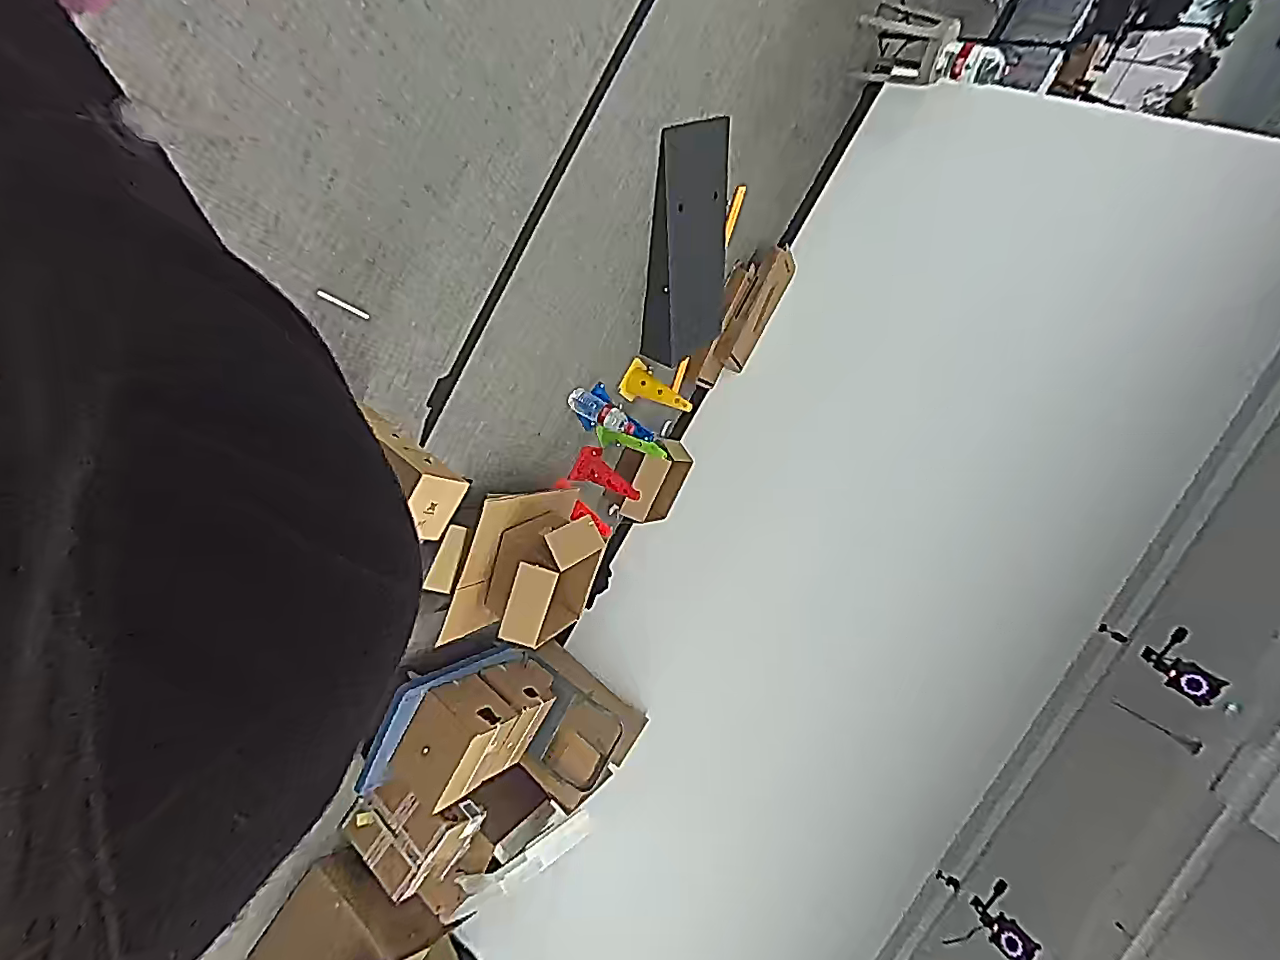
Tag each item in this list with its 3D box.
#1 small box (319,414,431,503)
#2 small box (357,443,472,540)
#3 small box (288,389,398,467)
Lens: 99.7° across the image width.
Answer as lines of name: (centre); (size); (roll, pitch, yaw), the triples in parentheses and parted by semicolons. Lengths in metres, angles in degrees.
small box: (-0.694, -0.050, 1.412); (0.179, 0.176, 0.168); (-59, 157, 5)
small box: (-0.565, 0.030, 1.349); (0.179, 0.176, 0.168); (-58, 157, 4)
small box: (-0.817, -0.131, 1.482); (0.168, 0.176, 0.179); (-59, 158, 6)
